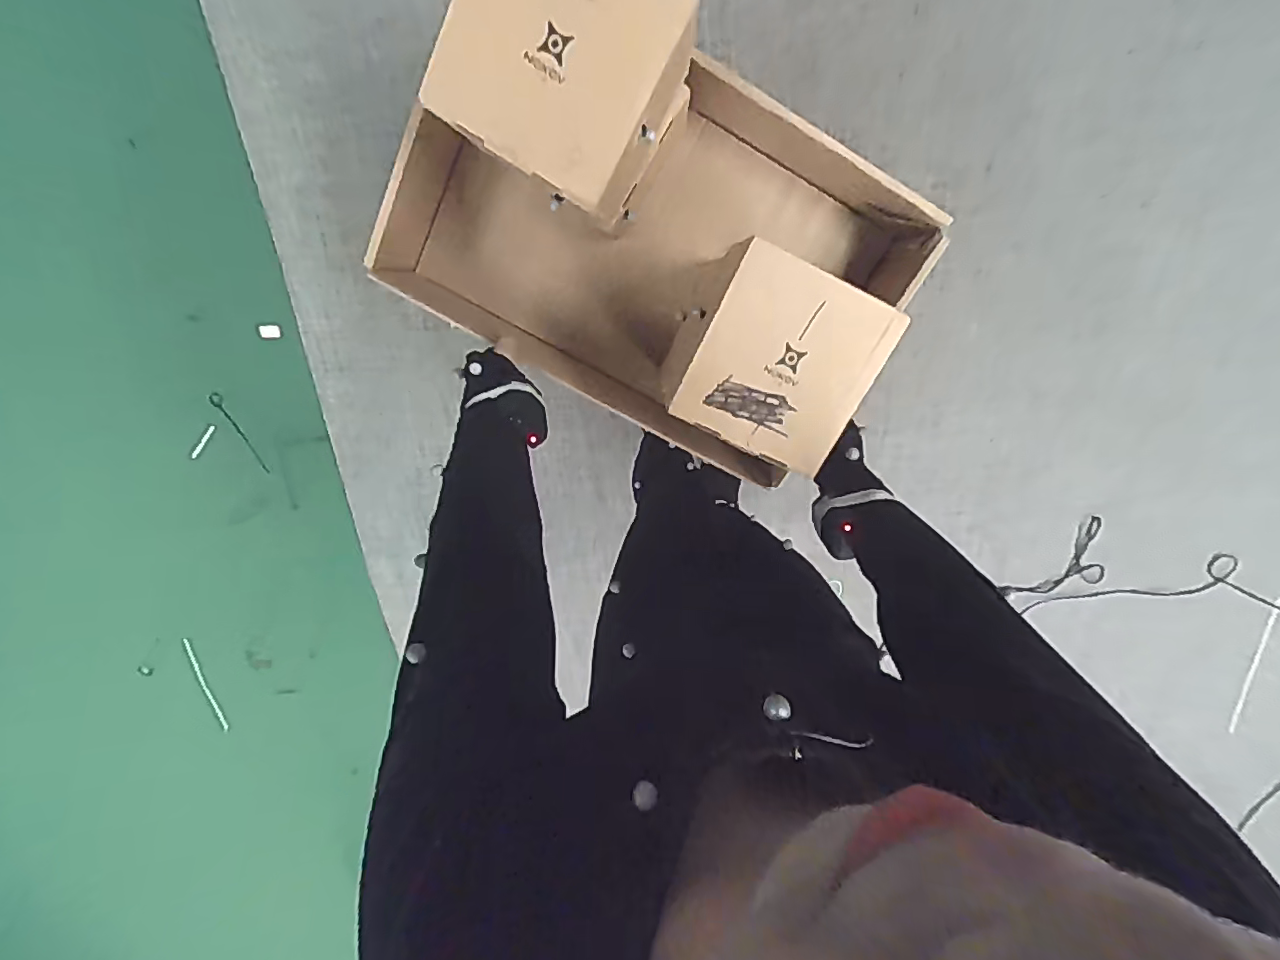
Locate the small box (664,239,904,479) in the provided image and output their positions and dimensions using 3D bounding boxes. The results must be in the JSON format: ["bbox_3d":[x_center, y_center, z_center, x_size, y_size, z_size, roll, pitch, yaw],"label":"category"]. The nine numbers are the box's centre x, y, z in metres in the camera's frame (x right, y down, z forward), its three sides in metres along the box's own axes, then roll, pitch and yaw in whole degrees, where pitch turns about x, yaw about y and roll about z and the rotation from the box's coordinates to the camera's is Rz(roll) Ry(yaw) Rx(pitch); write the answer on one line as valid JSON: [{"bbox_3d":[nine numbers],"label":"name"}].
[{"bbox_3d":[0.137,-0.133,0.585,0.168,0.176,0.179,24,109,-8],"label":"small box"}]

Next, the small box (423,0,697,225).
[{"bbox_3d":[-0.064,-0.363,0.504,0.168,0.176,0.179,29,108,-10],"label":"small box"}]
